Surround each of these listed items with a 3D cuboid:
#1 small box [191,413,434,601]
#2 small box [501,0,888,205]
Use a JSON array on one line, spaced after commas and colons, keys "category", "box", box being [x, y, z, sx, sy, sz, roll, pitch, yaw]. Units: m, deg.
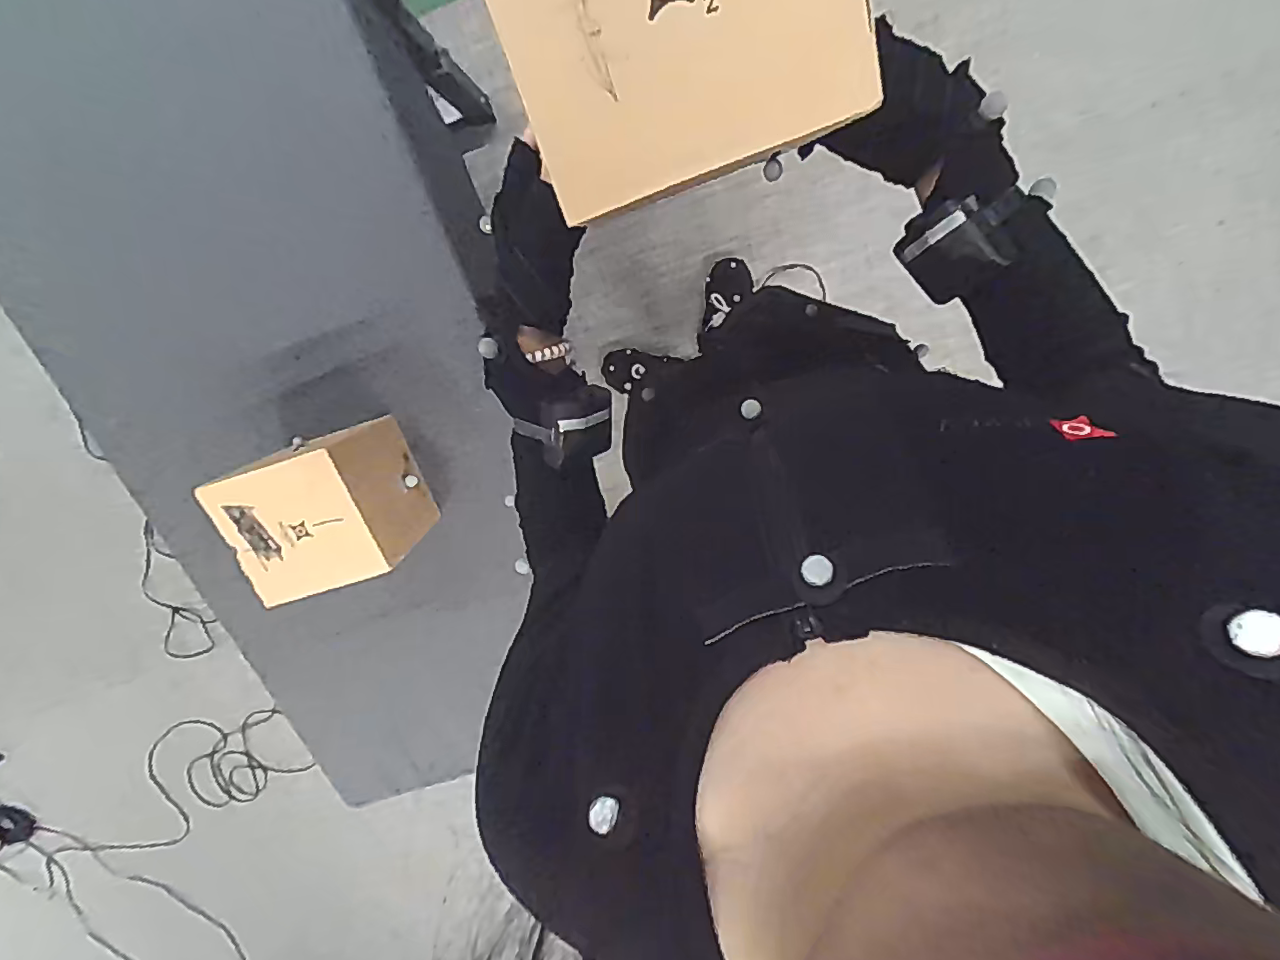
[{"category": "small box", "box": [-0.403, 0.027, 0.701, 0.179, 0.176, 0.168, -16, 108, 7]}, {"category": "small box", "box": [0.018, -0.278, 0.320, 0.179, 0.176, 0.168, -16, 113, 8]}]
